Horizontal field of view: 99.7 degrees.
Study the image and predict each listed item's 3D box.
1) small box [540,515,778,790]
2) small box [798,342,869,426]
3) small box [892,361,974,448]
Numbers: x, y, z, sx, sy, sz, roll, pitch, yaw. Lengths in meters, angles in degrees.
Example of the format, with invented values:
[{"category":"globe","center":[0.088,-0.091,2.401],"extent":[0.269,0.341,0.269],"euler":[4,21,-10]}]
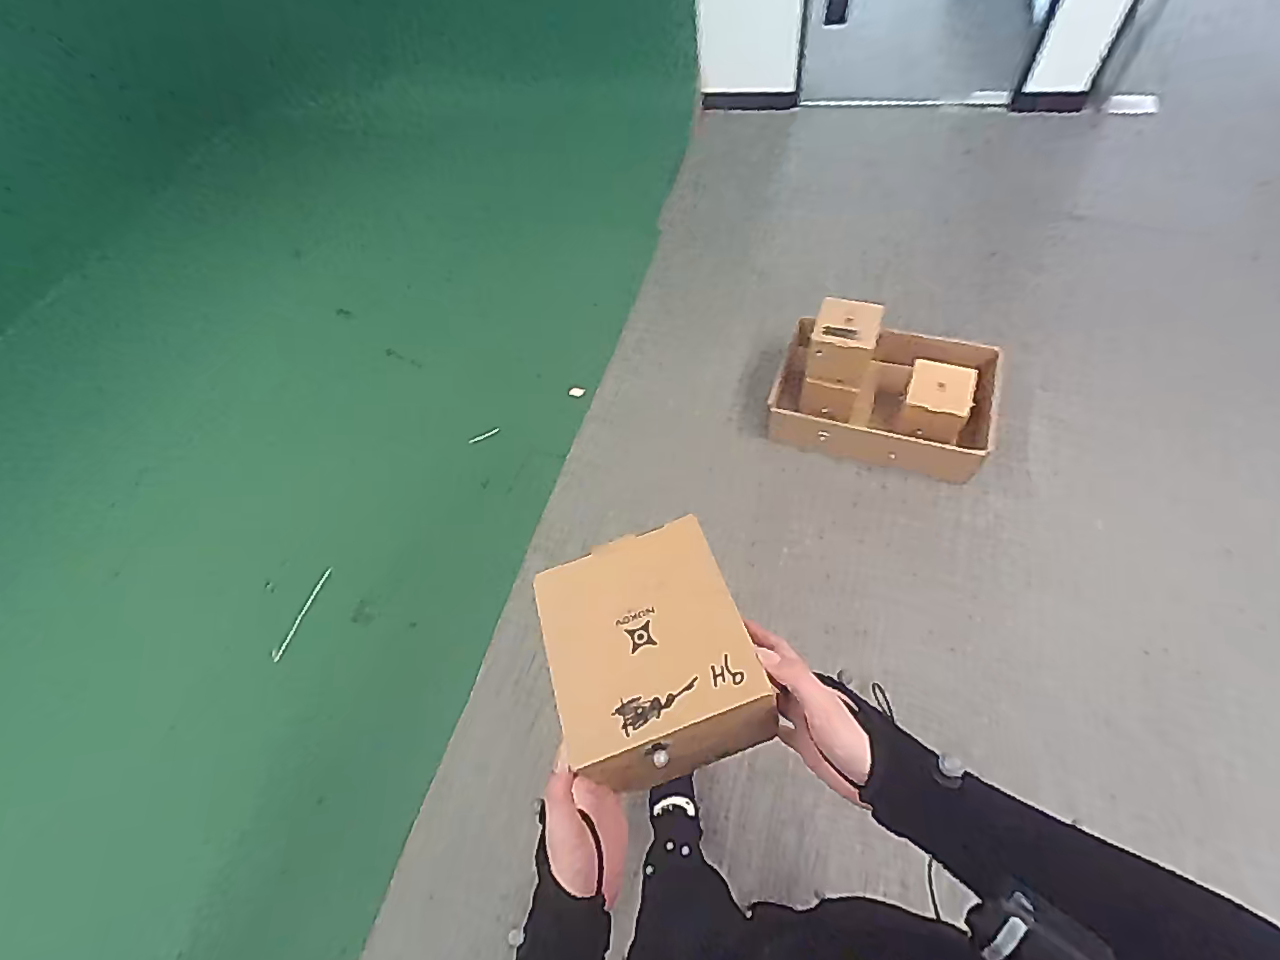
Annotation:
[{"category":"small box","center":[0.021,0.168,0.518],"extent":[0.168,0.176,0.179],"euler":[-21,51,1]},{"category":"small box","center":[0.607,-0.303,1.713],"extent":[0.168,0.176,0.179],"euler":[16,64,17]},{"category":"small box","center":[0.873,-0.225,1.624],"extent":[0.168,0.176,0.179],"euler":[16,66,18]}]
